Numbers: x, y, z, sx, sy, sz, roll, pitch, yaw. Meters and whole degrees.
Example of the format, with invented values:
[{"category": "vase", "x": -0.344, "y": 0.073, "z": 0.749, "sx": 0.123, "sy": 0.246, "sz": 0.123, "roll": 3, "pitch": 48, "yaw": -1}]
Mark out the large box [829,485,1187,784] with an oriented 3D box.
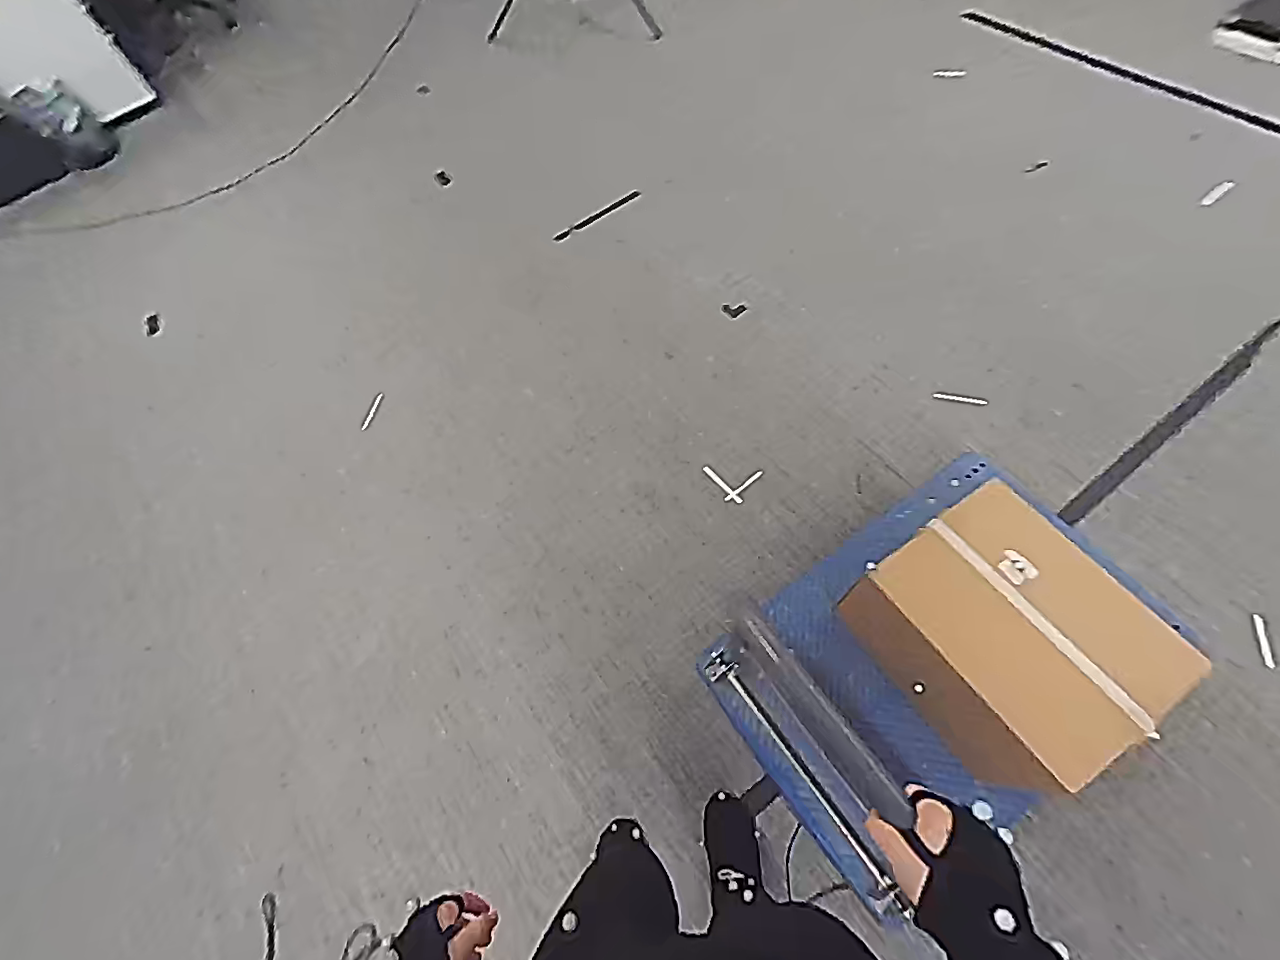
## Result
[{"category": "large box", "x": 0.638, "y": 0.295, "z": 1.031, "sx": 0.320, "sy": 0.320, "sz": 0.408, "roll": -34, "pitch": 63, "yaw": -10}]
